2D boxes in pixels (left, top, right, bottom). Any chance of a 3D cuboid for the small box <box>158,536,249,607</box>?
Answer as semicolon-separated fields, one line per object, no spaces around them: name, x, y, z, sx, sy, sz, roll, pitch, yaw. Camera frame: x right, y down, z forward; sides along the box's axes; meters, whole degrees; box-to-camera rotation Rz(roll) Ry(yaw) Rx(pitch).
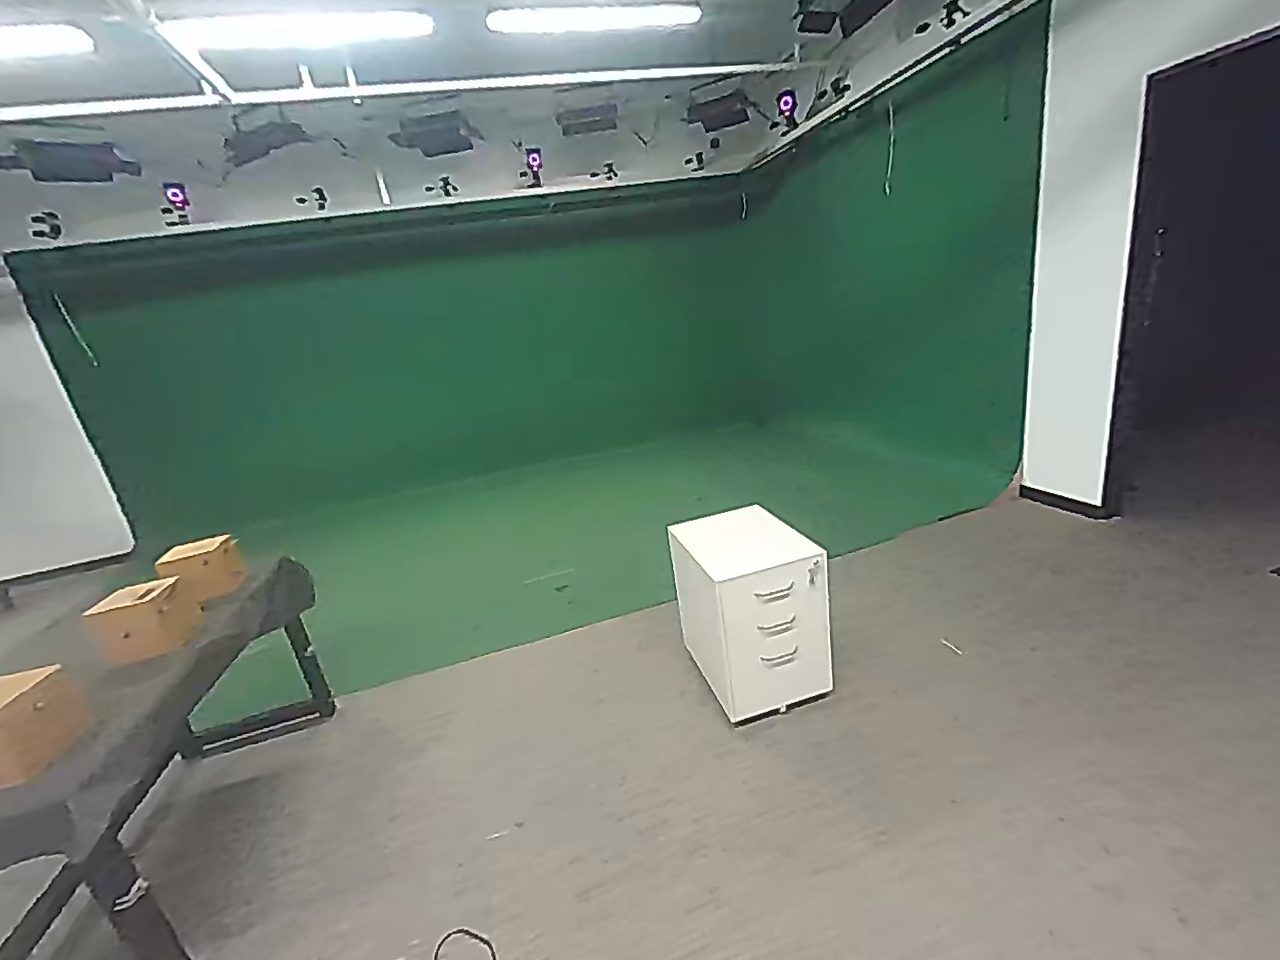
small box;-1.513;0.319;1.886;0.179;0.176;0.168;-15;18;-17

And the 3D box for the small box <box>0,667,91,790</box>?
small box;-1.328;0.528;1.133;0.168;0.176;0.179;-10;16;-6
